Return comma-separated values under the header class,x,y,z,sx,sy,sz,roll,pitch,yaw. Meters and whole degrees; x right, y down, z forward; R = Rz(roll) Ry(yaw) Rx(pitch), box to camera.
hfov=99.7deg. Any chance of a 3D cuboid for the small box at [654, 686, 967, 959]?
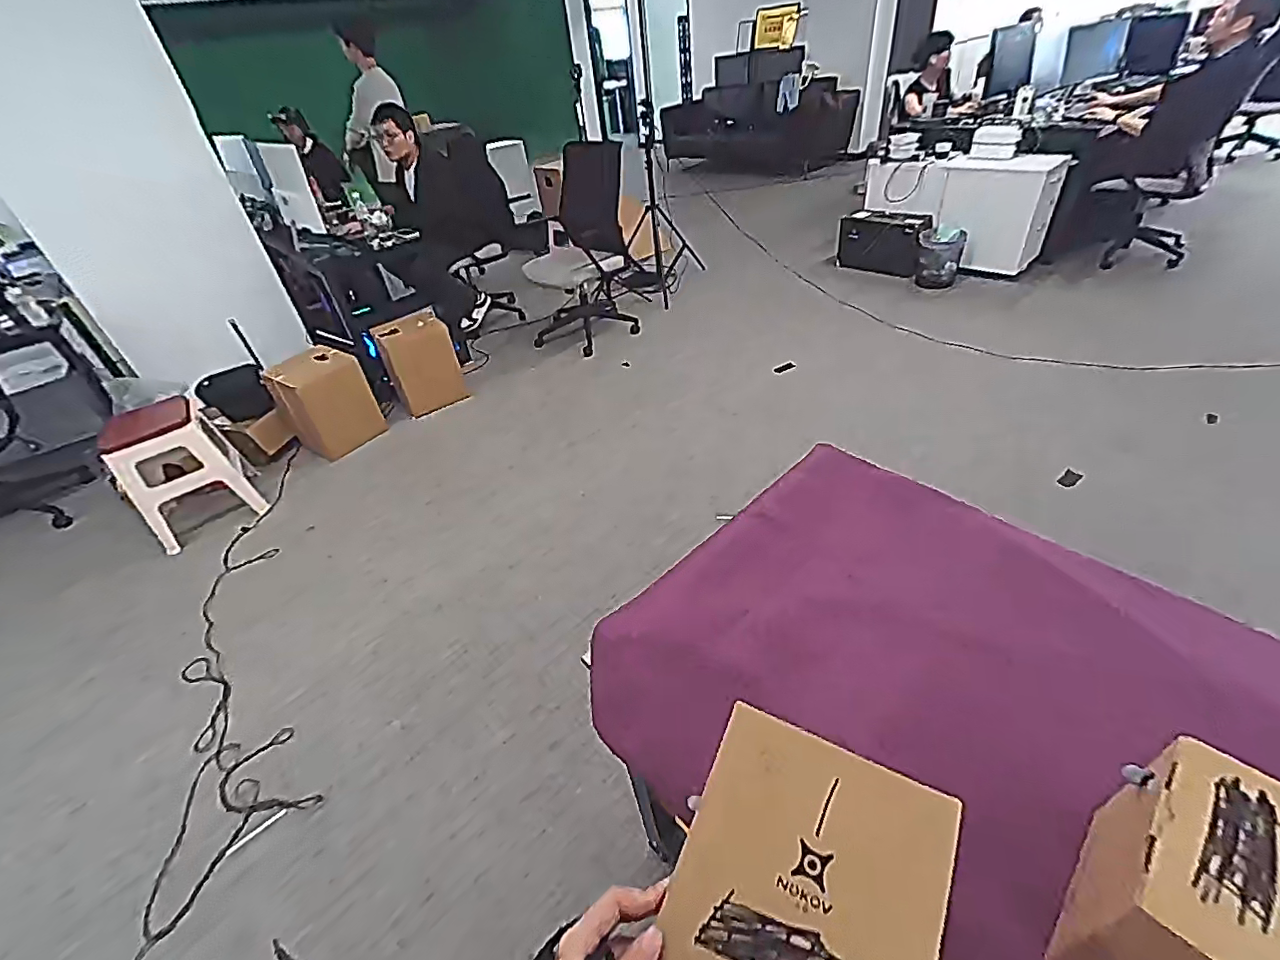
class,x,y,z,sx,sy,sz,roll,pitch,yaw
small box,0.130,0.300,0.430,0.168,0.176,0.179,18,61,21
